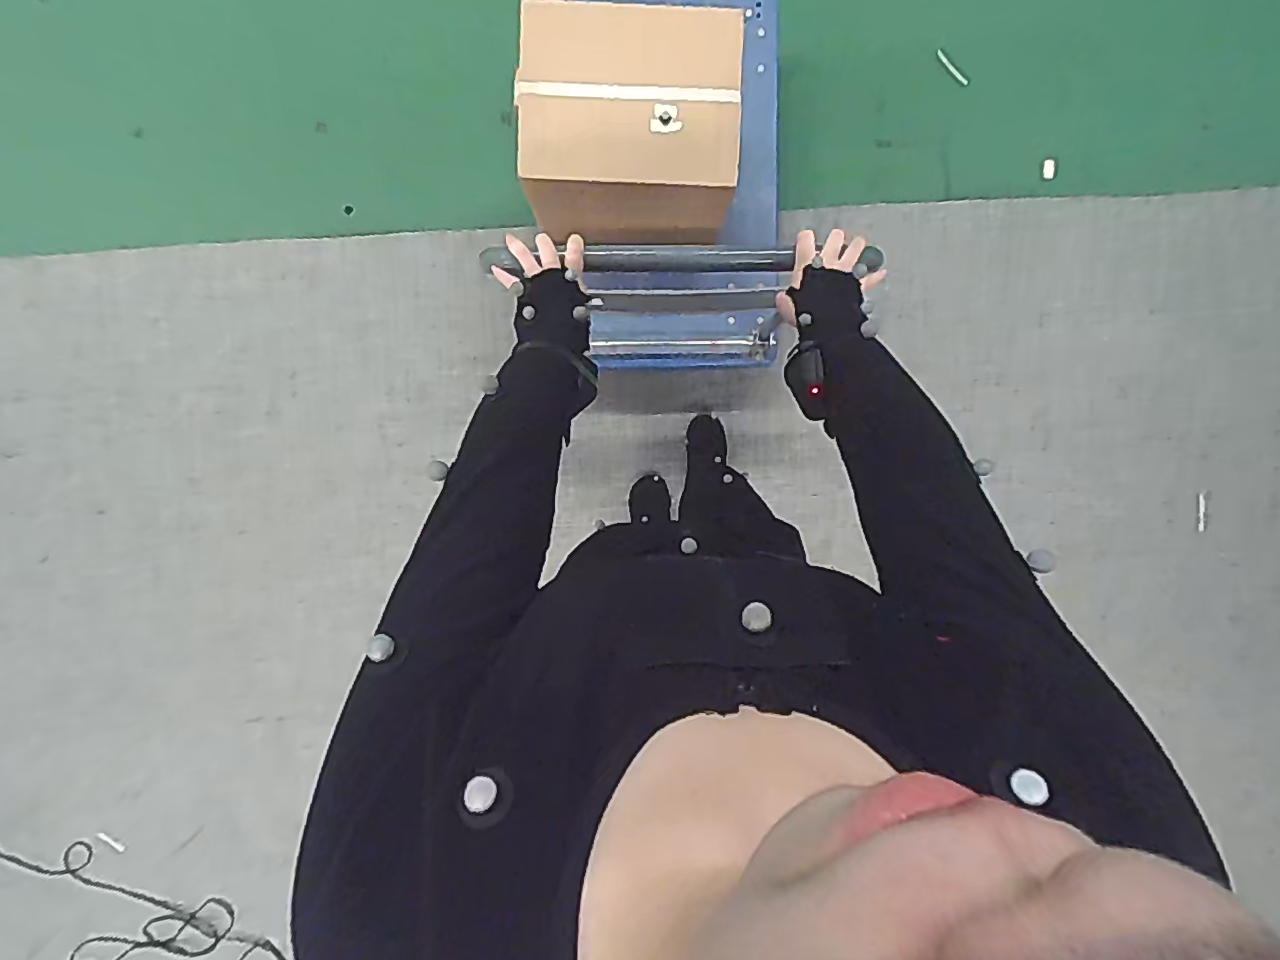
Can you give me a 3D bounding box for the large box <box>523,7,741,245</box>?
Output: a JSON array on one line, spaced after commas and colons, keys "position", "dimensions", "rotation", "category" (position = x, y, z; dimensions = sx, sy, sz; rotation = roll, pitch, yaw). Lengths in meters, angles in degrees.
[{"position": [-0.020, -0.715, 1.147], "dimensions": [0.408, 0.320, 0.320], "rotation": [2, 93, -1], "category": "large box"}]
